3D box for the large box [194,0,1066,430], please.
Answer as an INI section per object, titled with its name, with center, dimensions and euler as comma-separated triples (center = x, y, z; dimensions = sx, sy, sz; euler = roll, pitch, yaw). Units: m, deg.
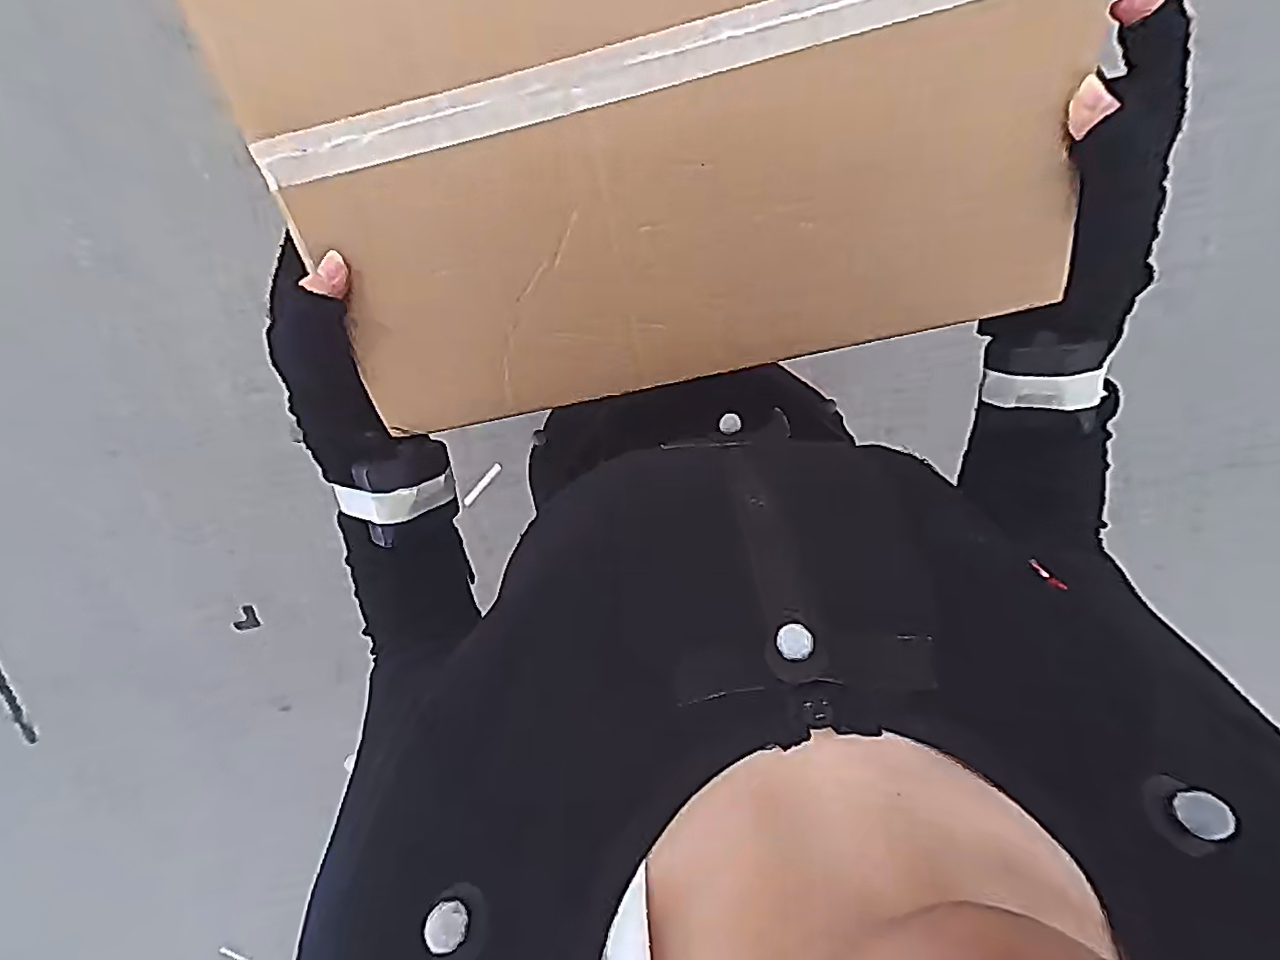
[large box]
center = 0.003, -0.274, 0.392
dimensions = 0.408, 0.320, 0.320
euler = -11, 118, 6
